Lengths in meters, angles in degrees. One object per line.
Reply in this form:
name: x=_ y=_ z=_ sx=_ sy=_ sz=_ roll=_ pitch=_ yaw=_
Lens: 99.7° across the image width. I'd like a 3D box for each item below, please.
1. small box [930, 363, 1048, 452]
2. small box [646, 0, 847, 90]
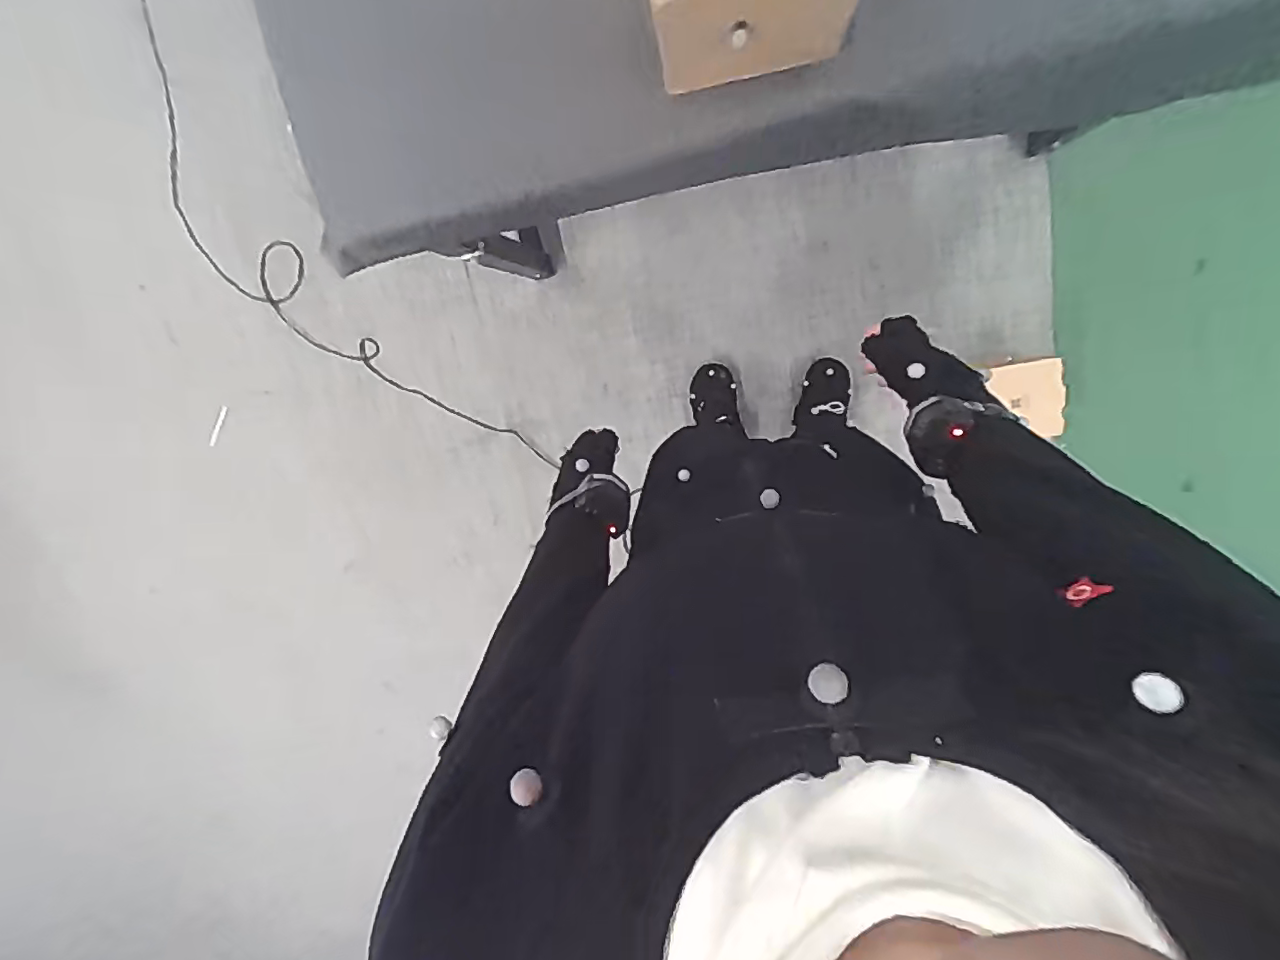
small box: x=0.785 y=-0.169 z=1.229 sx=0.179 sy=0.176 sz=0.168 roll=-8 pitch=102 yaw=11
small box: x=0.092 y=-0.482 z=0.476 sx=0.179 sy=0.176 sz=0.168 roll=-6 pitch=103 yaw=9
